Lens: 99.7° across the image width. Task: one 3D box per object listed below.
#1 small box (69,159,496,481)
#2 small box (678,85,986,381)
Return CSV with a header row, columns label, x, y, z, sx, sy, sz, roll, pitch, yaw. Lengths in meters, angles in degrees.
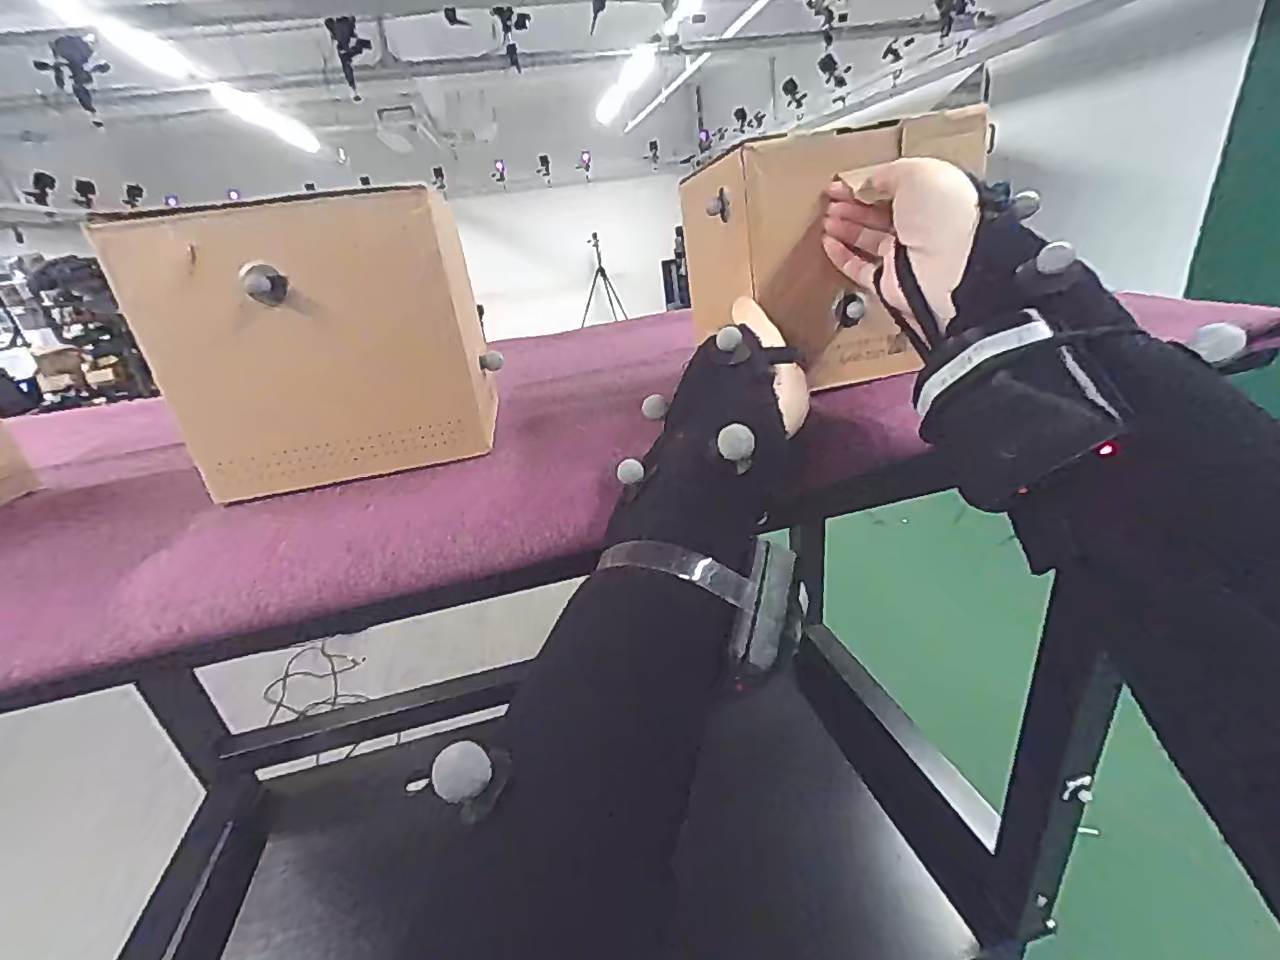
label,x,y,z,sx,sy,sz,roll,pitch,yaw
small box,-0.214,-0.111,0.389,0.179,0.176,0.168,-11,23,-8
small box,0.135,-0.184,0.436,0.168,0.176,0.179,-12,23,-5
